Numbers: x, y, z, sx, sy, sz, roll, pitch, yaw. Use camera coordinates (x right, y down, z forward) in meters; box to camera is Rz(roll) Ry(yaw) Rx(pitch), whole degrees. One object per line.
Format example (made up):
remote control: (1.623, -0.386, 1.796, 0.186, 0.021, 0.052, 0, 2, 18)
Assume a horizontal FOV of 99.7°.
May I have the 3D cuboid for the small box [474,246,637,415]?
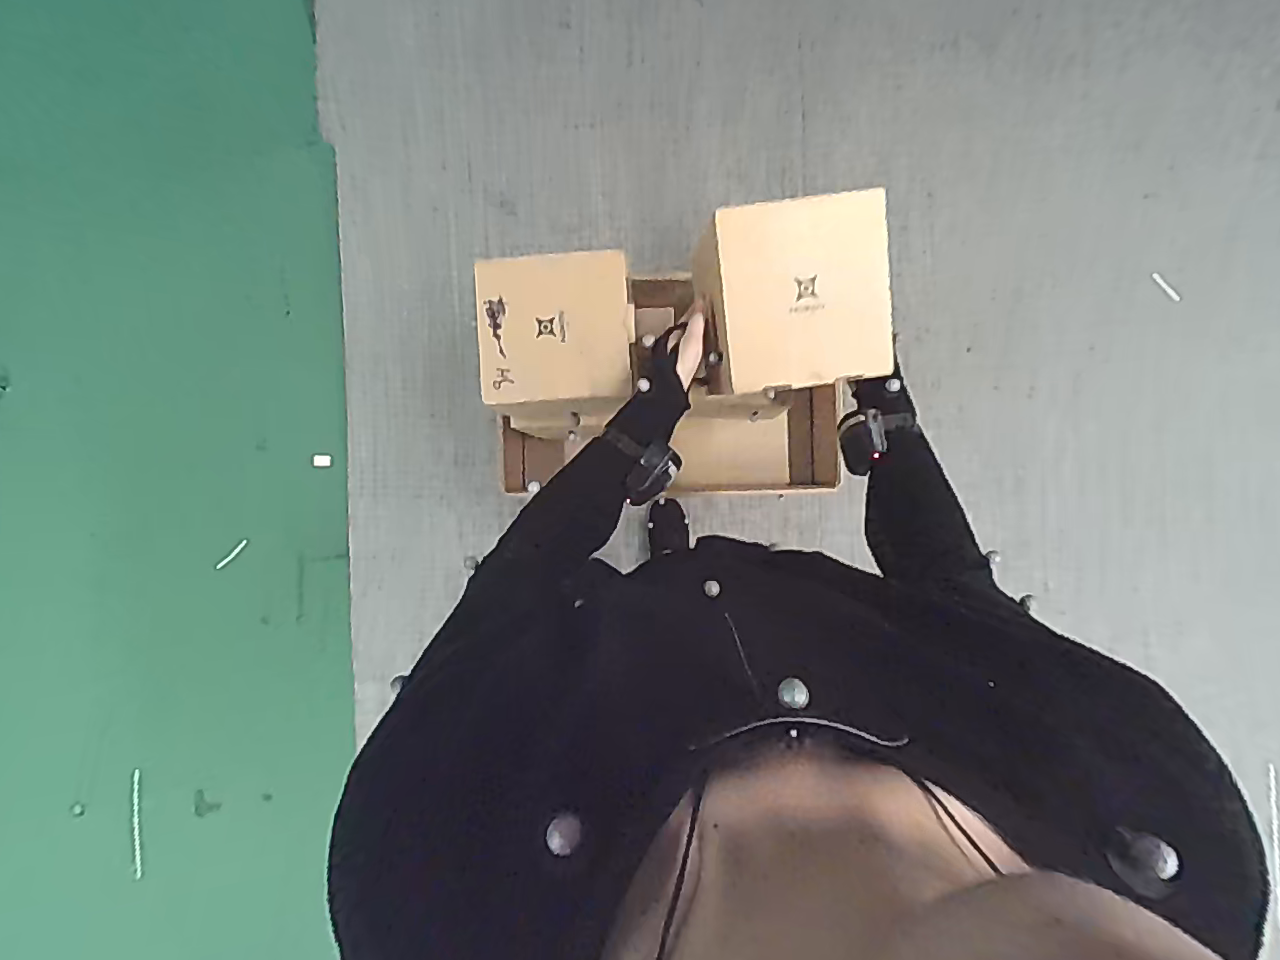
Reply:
small box: (-0.094, -0.176, 0.679, 0.179, 0.176, 0.168, -3, 89, 1)
